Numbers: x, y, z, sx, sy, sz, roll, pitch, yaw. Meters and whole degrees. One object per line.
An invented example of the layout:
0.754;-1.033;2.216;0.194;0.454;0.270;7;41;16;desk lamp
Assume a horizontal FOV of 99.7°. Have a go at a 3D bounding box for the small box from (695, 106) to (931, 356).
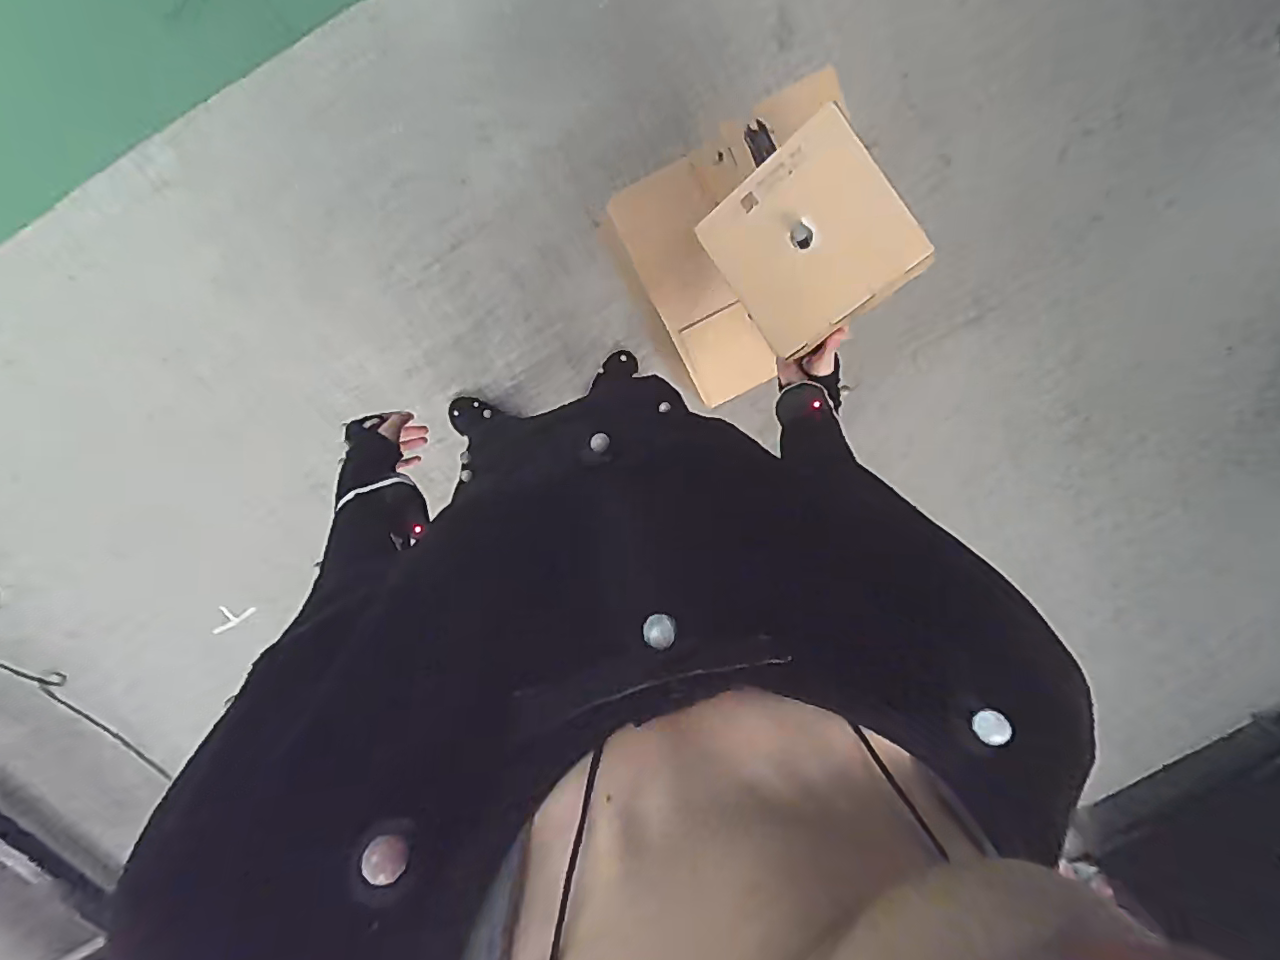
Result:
0.185;-0.254;0.583;0.168;0.179;0.176;-35;88;30;small box
